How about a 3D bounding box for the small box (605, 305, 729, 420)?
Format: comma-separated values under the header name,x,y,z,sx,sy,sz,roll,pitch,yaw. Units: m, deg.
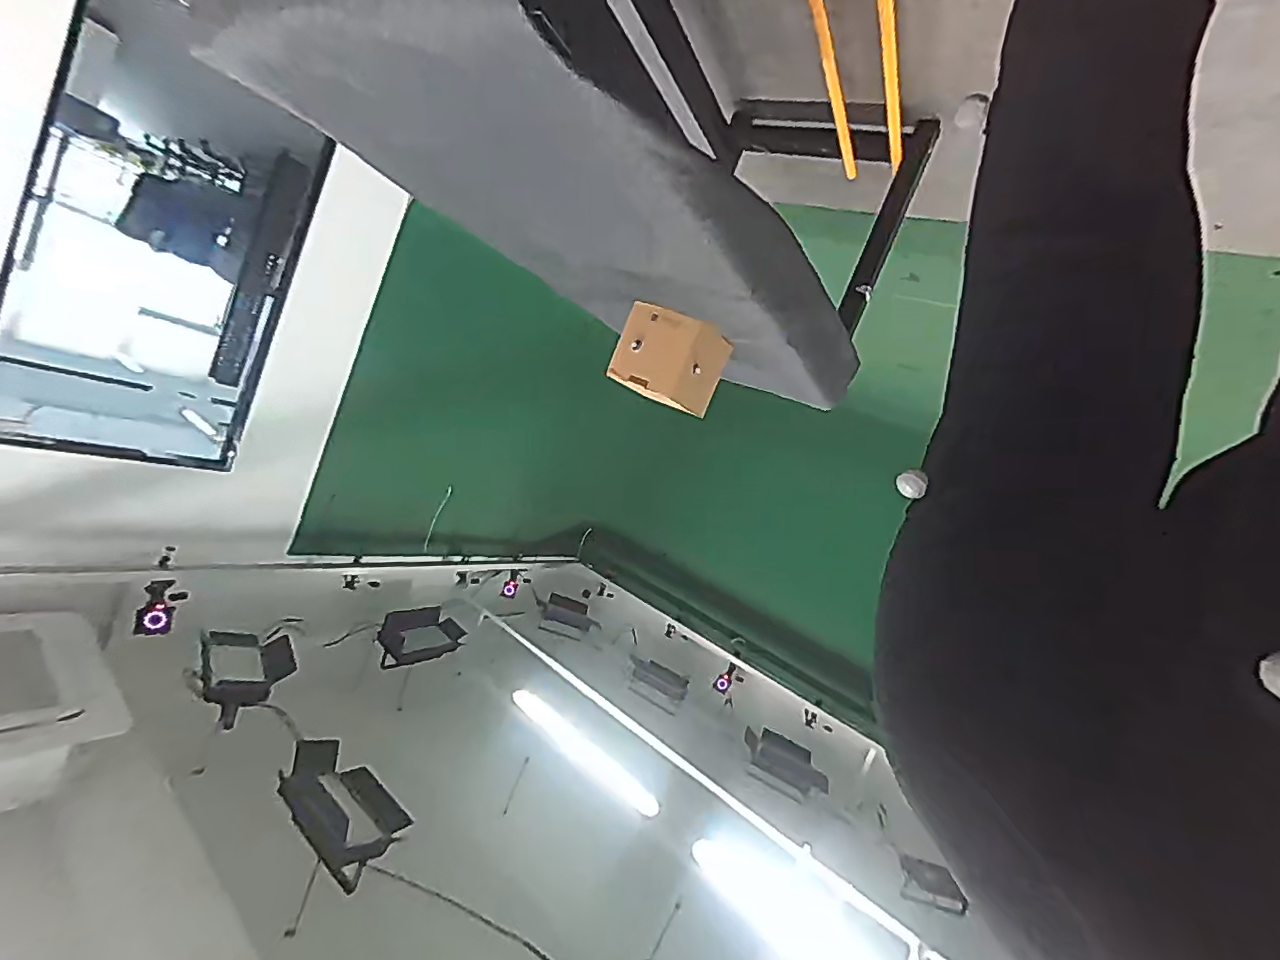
name,x,y,z,sx,sy,sz,roll,pitch,yaw
small box,0.061,-0.244,1.129,0.168,0.176,0.179,26,-174,29
